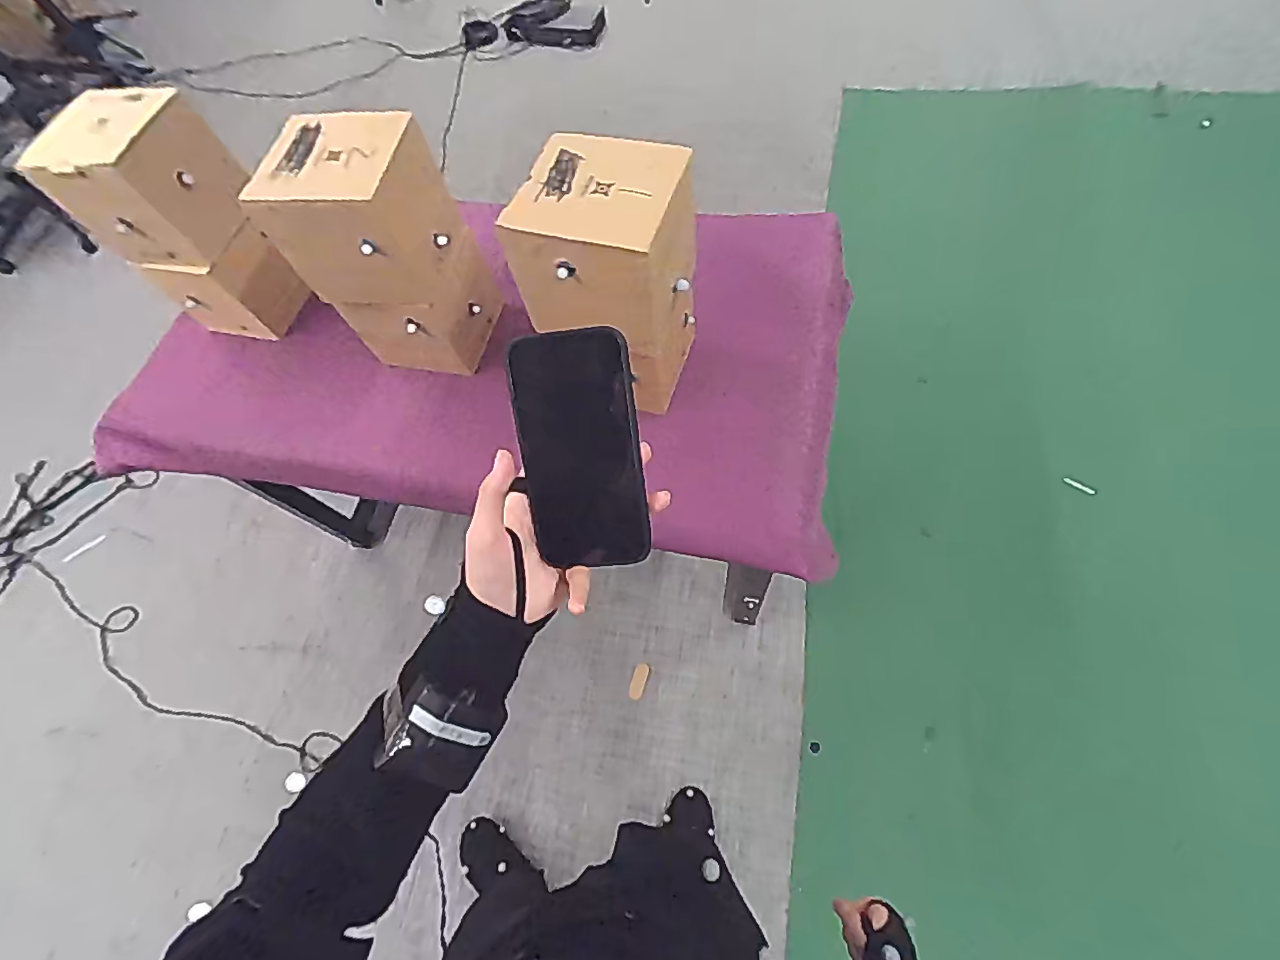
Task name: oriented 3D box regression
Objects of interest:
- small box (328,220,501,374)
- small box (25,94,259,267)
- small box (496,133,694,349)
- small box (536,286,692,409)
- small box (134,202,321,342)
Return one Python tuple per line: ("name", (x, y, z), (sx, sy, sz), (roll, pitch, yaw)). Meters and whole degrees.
("small box", (-0.352, -0.293, 0.885), (0.179, 0.176, 0.168), (9, 66, 12))
("small box", (-0.741, -0.452, 0.831), (0.168, 0.176, 0.179), (5, 66, 9))
("small box", (-0.040, -0.284, 0.658), (0.179, 0.176, 0.168), (15, 67, 14))
("small box", (-0.025, -0.227, 0.812), (0.179, 0.176, 0.168), (15, 67, 15))
("small box", (-0.724, -0.373, 0.974), (0.168, 0.176, 0.179), (10, 66, 12))
